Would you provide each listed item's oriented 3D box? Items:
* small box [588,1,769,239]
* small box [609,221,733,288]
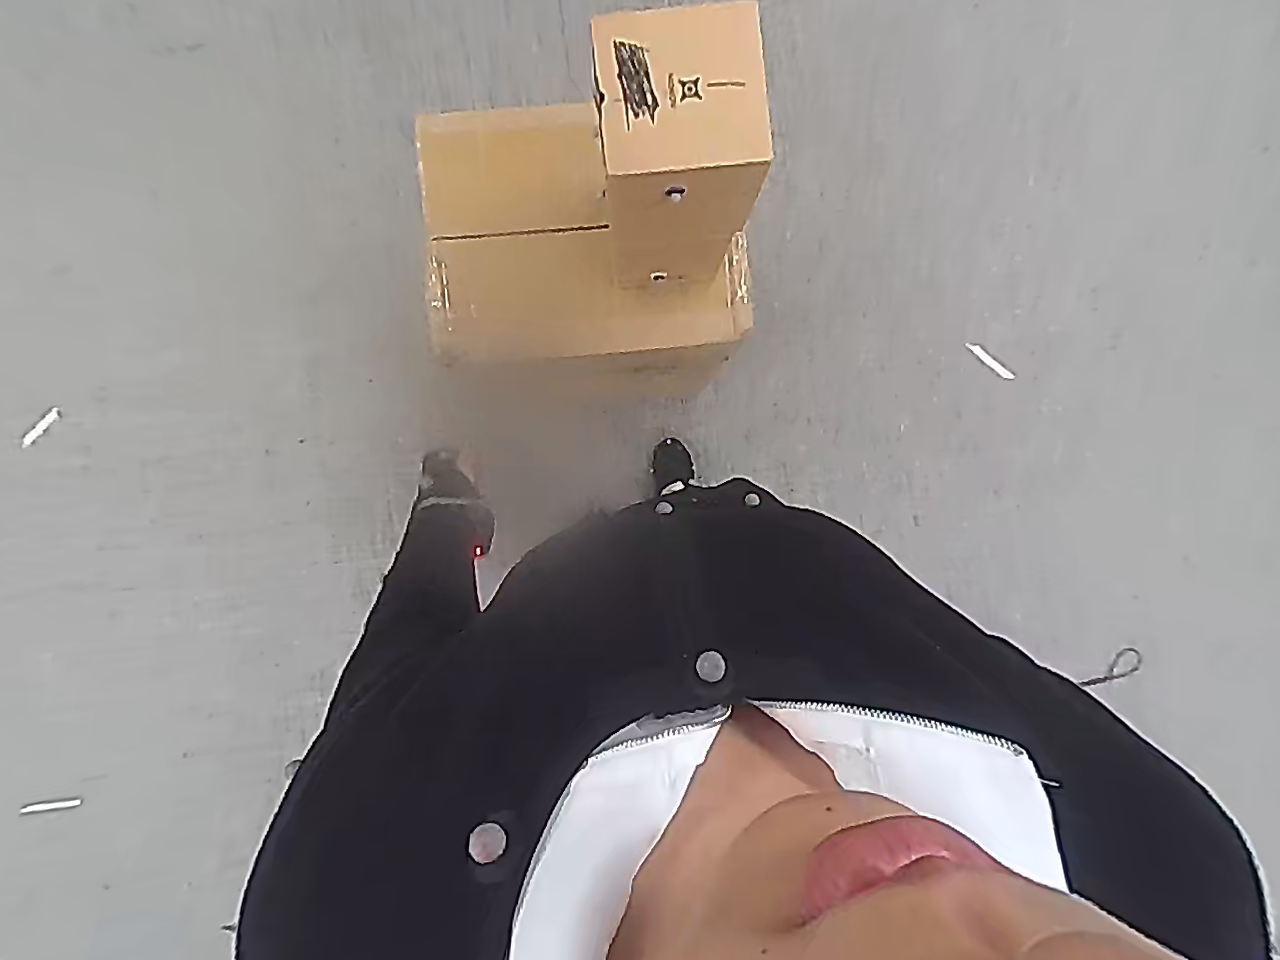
[{"bbox_3d":[0.041,-0.402,0.635,0.179,0.176,0.168,-6,91,0],"label":"small box"},{"bbox_3d":[0.036,-0.405,0.800,0.168,0.176,0.179,-6,92,0],"label":"small box"}]
